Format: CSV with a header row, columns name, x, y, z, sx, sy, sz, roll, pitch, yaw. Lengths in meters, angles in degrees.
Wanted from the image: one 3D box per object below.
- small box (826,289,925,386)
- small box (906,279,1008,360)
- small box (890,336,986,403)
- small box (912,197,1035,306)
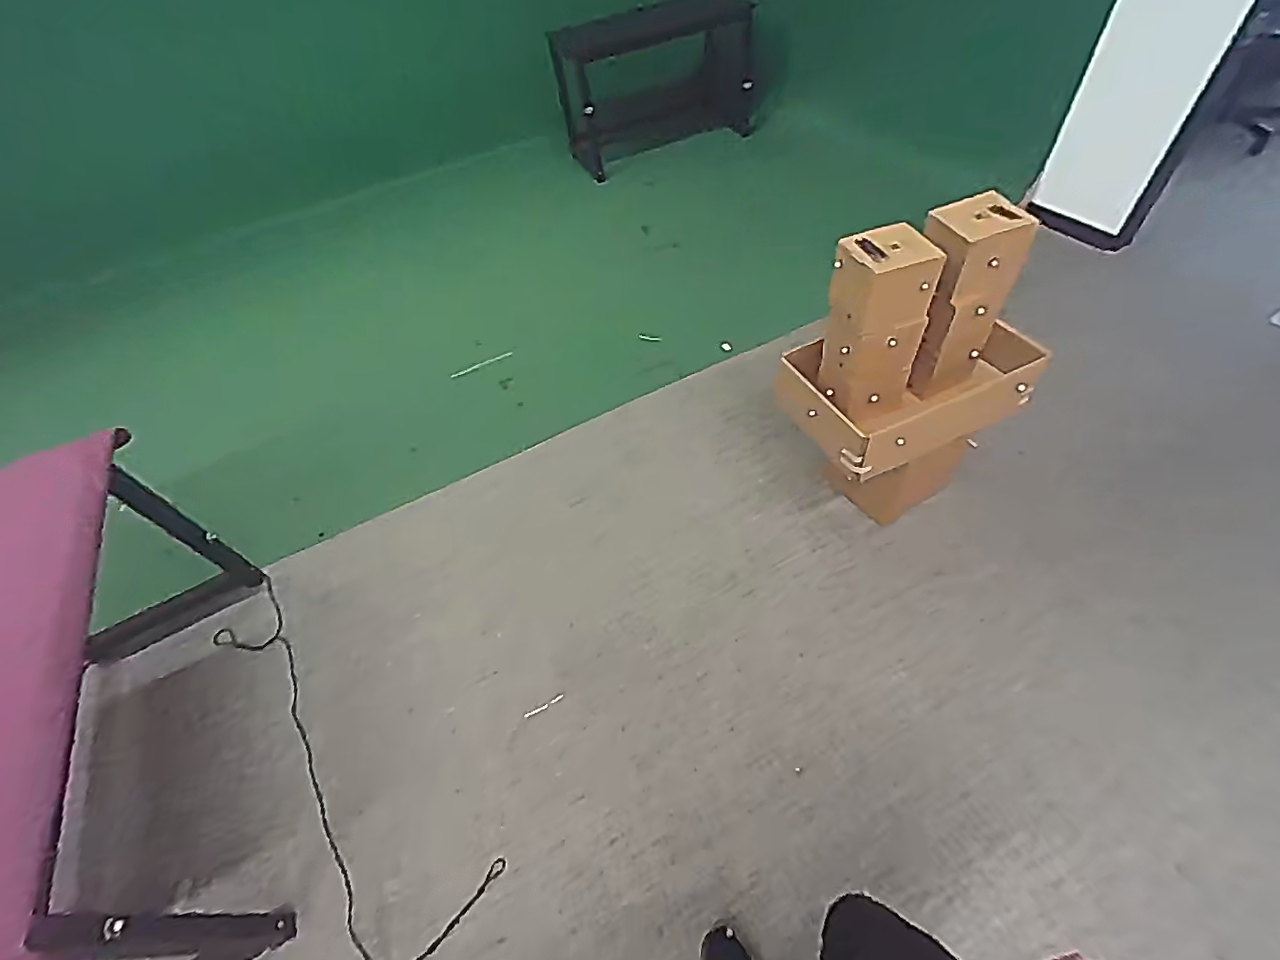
name,x,y,z,sx,sy,sz,roll,pitch,yaw
small box,0.609,-0.371,1.431,0.179,0.176,0.168,-15,51,-4
small box,0.838,-0.460,1.470,0.179,0.176,0.168,-26,53,-9
small box,0.863,-0.361,1.595,0.179,0.176,0.168,-25,51,-9
small box,0.816,-0.565,1.345,0.179,0.176,0.168,-19,51,-3
